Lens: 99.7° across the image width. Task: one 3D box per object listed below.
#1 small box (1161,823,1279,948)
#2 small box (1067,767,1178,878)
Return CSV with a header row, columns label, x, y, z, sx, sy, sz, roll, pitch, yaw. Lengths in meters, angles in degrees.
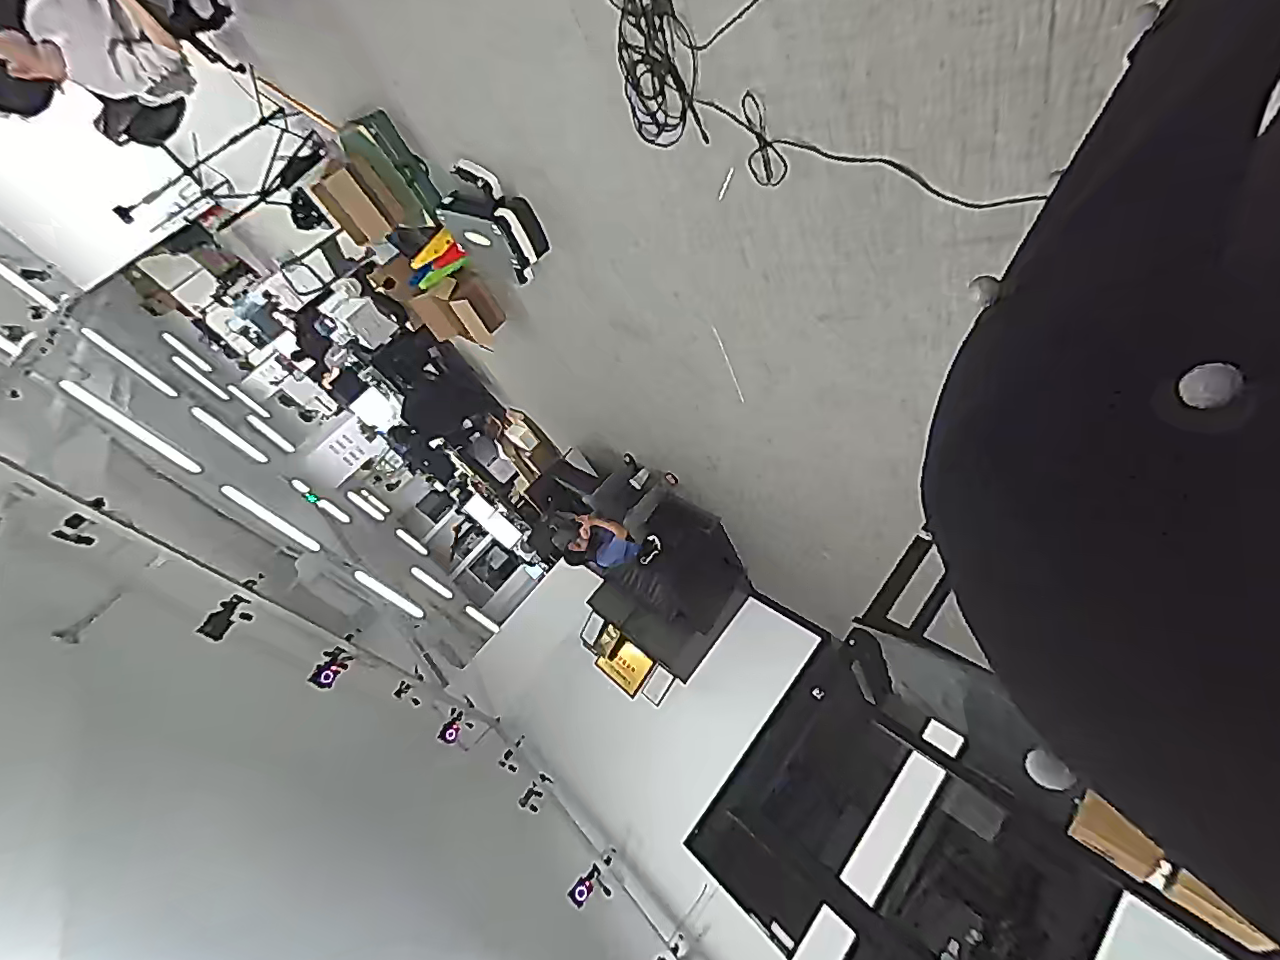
label,x,y,z,sx,sy,sz,roll,pitch,yaw
small box,1.381,0.947,1.272,0.168,0.176,0.179,26,159,45
small box,1.260,0.894,1.417,0.168,0.176,0.179,26,157,43
